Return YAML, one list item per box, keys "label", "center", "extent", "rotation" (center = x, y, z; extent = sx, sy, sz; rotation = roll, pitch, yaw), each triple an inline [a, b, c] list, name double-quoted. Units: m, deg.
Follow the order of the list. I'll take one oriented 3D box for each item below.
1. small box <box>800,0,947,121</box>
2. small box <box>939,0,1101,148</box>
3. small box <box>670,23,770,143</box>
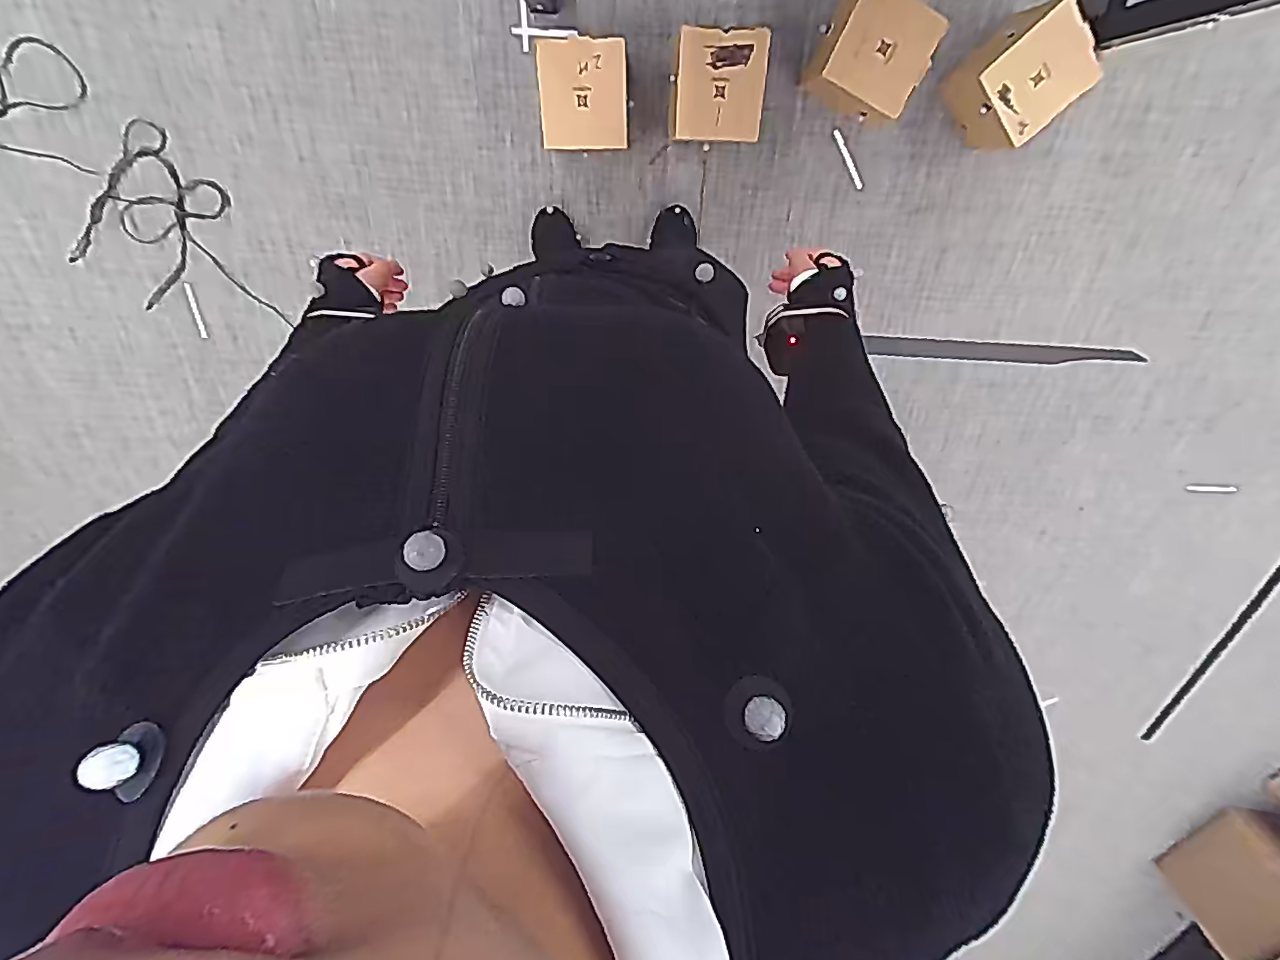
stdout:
- label: "small box"
  center: [0.446, -0.834, 1.063]
  extent: [0.179, 0.176, 0.168]
  rotation: [21, 117, -11]
- label: "small box"
  center: [0.747, -0.802, 1.081]
  extent: [0.179, 0.176, 0.168]
  rotation: [-40, 113, 20]
- label: "small box"
  center: [0.150, -0.786, 1.086]
  extent: [0.168, 0.176, 0.179]
  rotation: [1, 122, -1]
